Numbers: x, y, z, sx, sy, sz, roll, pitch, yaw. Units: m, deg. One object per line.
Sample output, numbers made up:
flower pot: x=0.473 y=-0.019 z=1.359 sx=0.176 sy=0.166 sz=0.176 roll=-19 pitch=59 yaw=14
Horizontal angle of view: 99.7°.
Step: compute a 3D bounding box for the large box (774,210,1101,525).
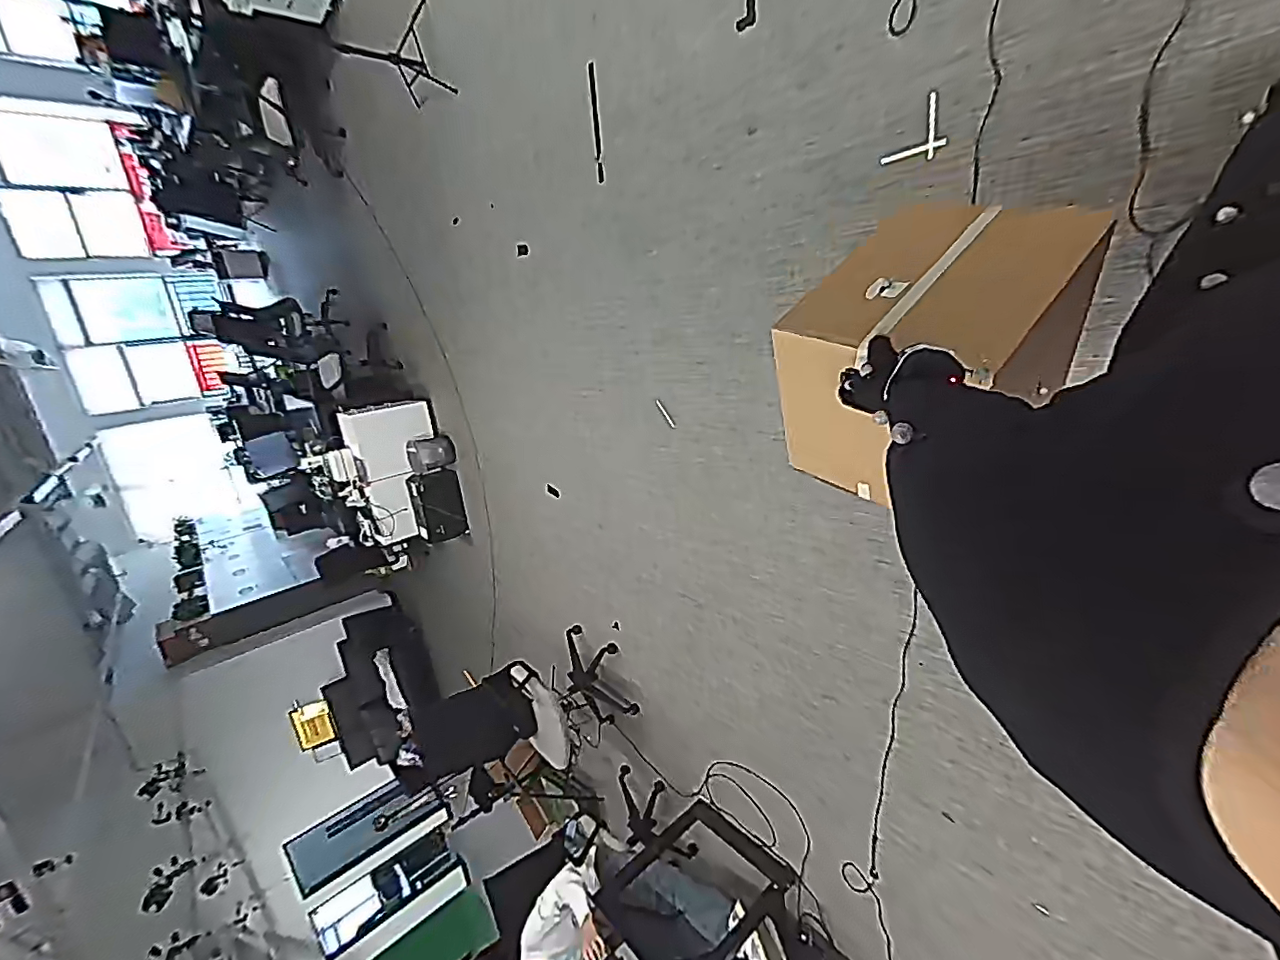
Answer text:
large box: x=0.485 y=-0.206 z=0.917 sx=0.320 sy=0.408 sz=0.320 roll=28 pitch=153 yaw=41
